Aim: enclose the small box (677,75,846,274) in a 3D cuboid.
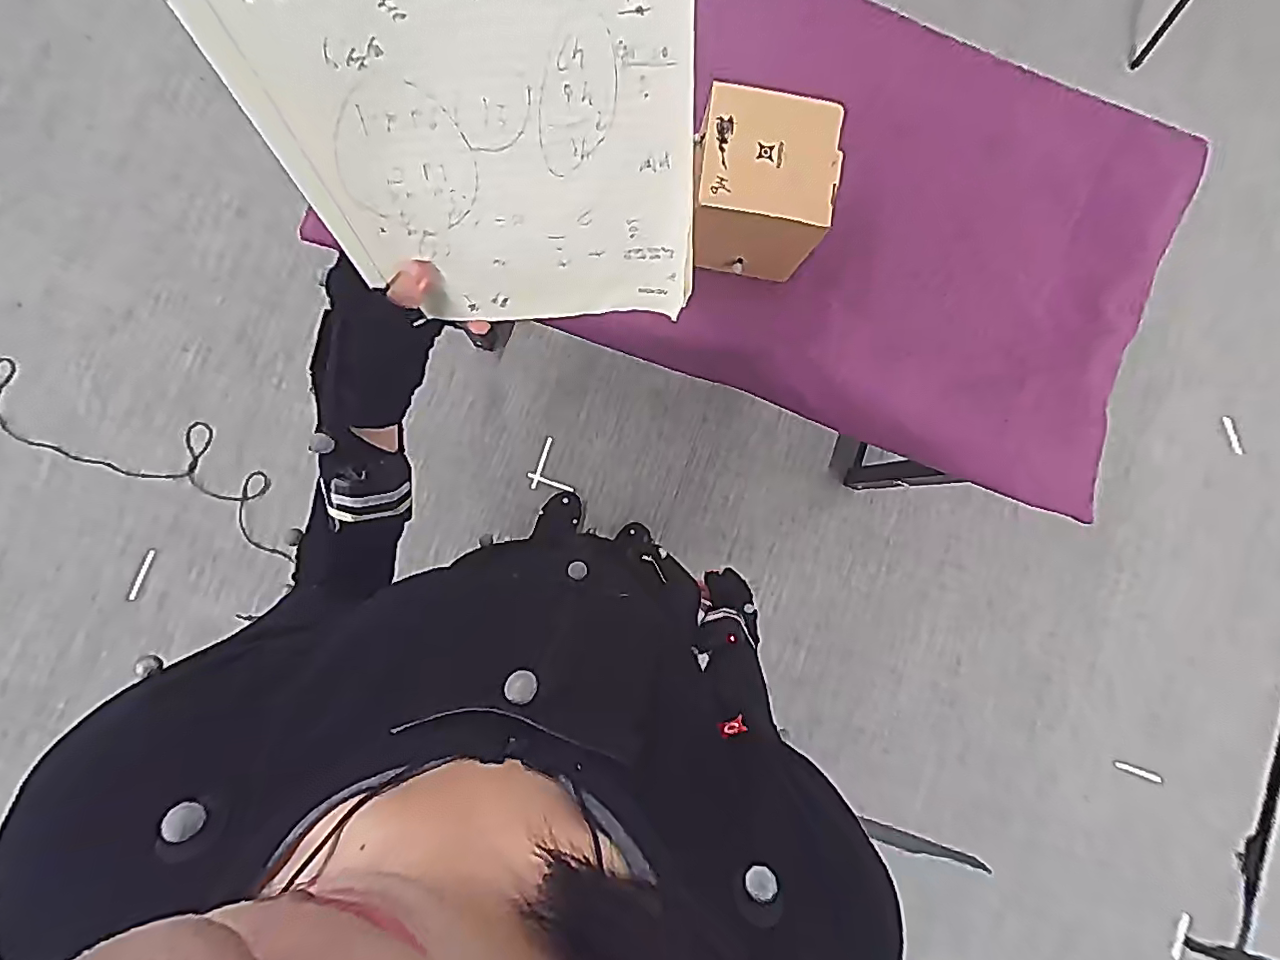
[{"bbox_3d":[0.160,-0.410,0.757,0.179,0.176,0.168,8,85,-5],"label":"small box"}]
